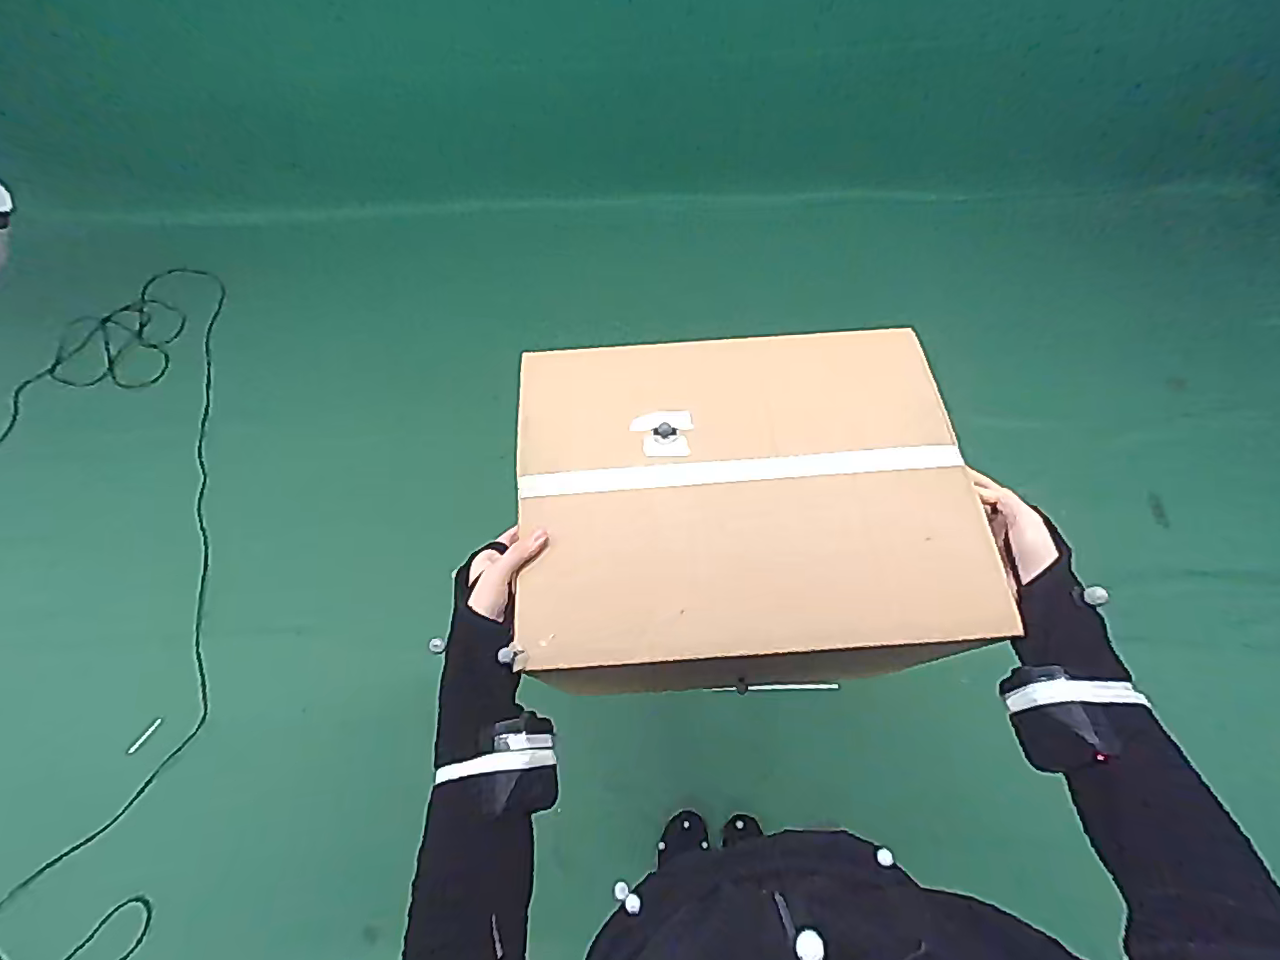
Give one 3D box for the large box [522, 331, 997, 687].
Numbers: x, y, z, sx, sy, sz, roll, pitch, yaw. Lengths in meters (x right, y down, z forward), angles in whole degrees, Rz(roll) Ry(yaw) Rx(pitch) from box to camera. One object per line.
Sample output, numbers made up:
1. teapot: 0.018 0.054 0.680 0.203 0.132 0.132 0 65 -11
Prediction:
1. large box: 0.096 0.060 0.643 0.408 0.320 0.320 -5 64 1
